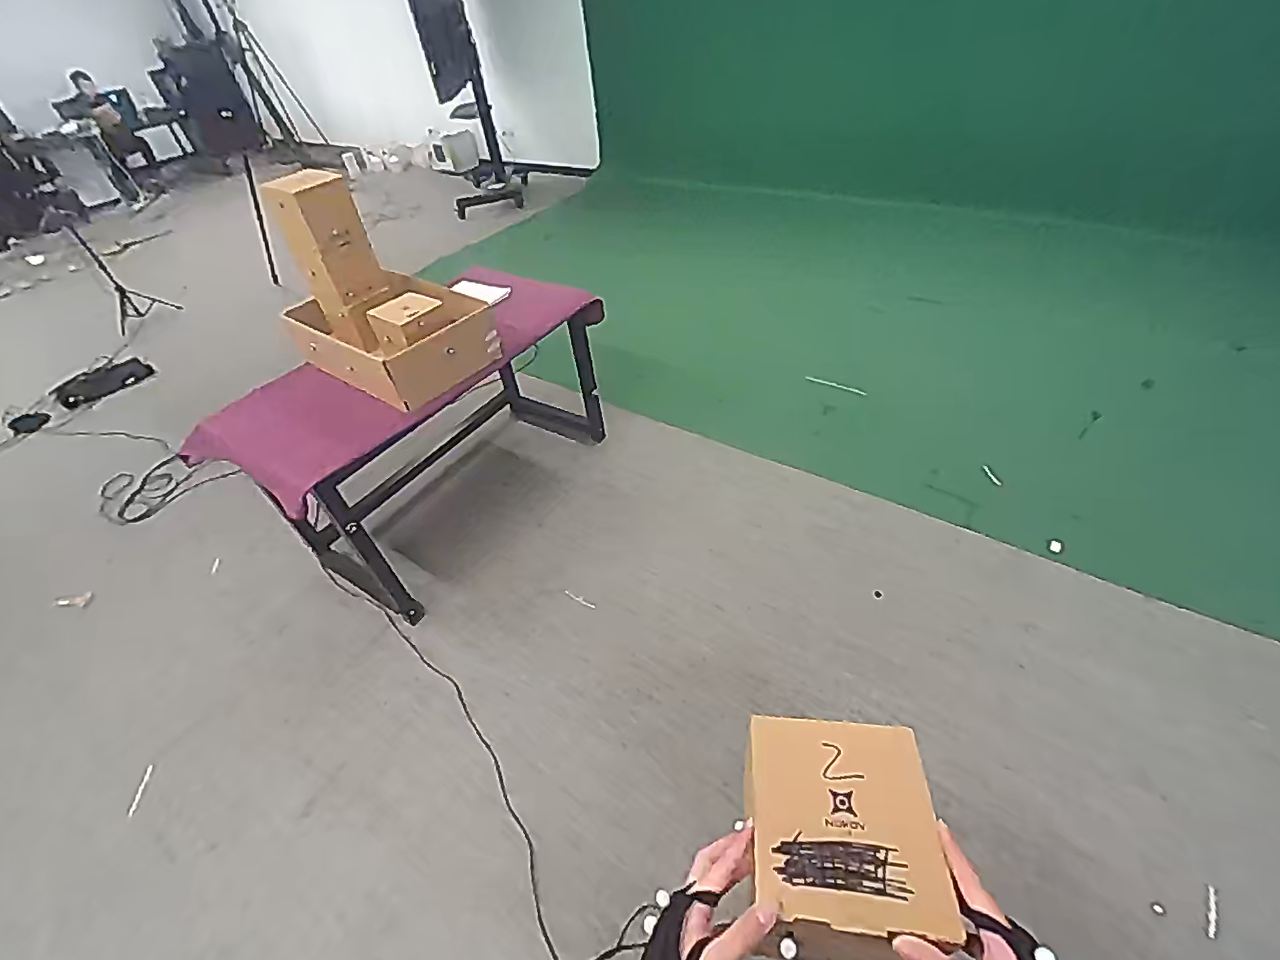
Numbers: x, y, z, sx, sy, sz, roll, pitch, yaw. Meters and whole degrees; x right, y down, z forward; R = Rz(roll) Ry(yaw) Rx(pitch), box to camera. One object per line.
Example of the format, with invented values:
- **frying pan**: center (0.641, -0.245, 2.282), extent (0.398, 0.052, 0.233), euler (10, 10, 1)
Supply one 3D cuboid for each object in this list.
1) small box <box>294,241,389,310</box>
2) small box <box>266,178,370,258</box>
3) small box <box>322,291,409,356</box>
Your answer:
- **small box**: center (-0.940, -0.660, 1.718), extent (0.179, 0.176, 0.168), euler (22, 50, 26)
- **small box**: center (-0.950, -0.778, 1.607), extent (0.179, 0.176, 0.168), euler (23, 51, 26)
- **small box**: center (-0.922, -0.539, 1.829), extent (0.179, 0.176, 0.168), euler (23, 51, 26)
